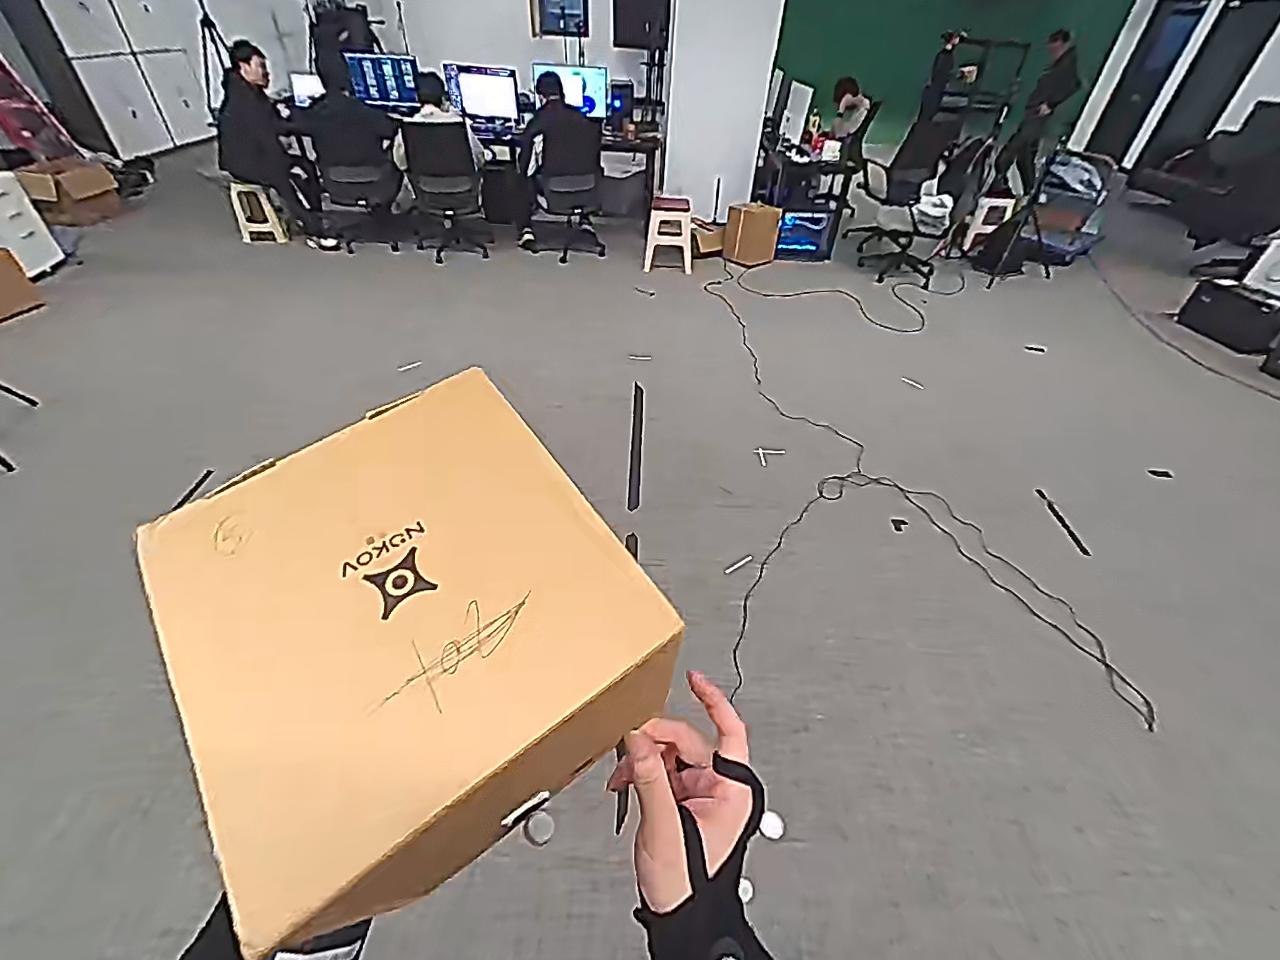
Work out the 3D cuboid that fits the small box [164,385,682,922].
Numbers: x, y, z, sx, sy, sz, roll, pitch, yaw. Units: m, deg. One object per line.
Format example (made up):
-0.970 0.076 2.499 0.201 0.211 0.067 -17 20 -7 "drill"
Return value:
-0.098 0.088 0.300 0.168 0.176 0.179 -34 64 -19 "small box"
